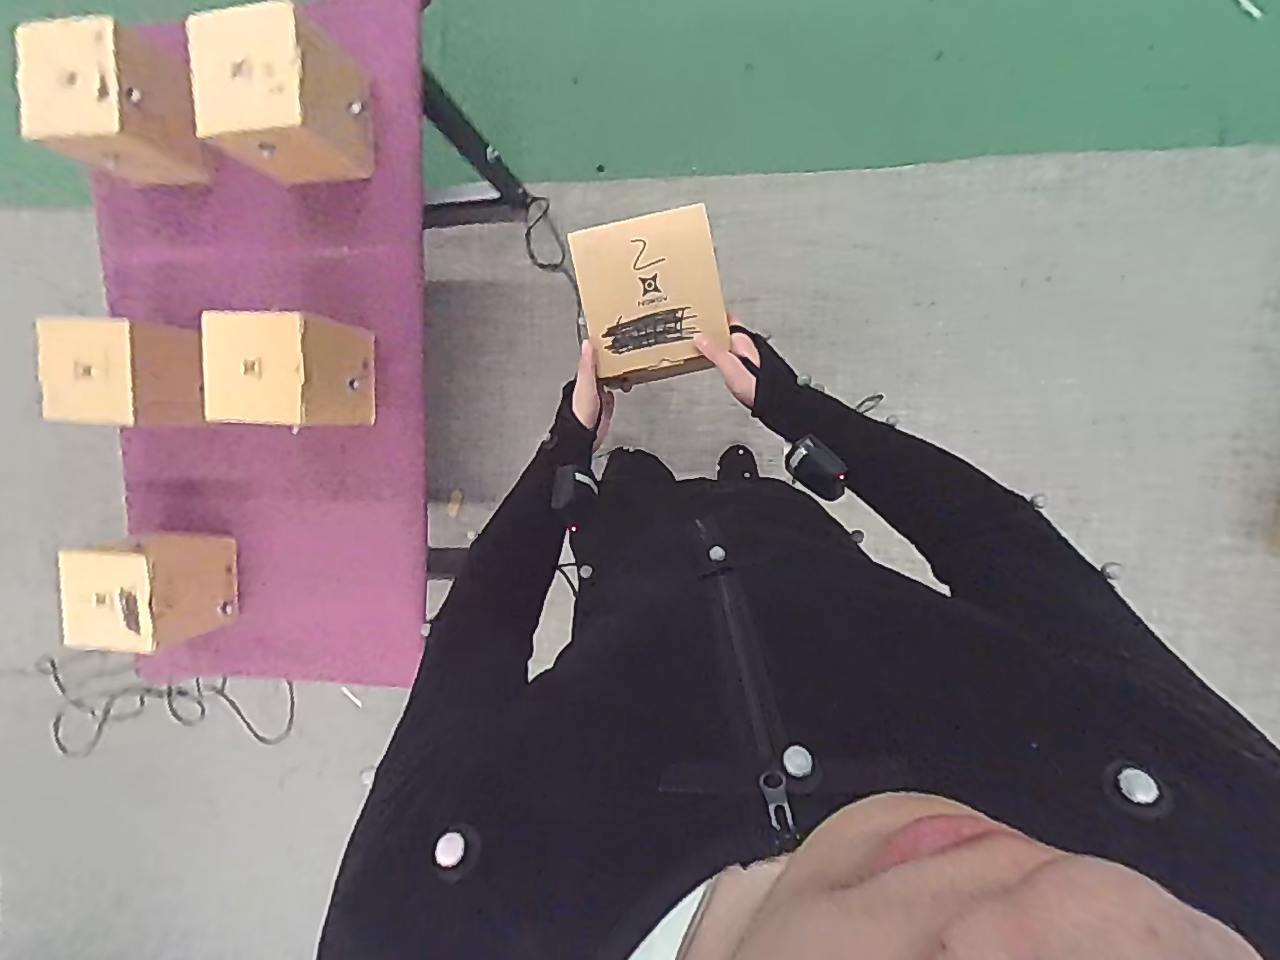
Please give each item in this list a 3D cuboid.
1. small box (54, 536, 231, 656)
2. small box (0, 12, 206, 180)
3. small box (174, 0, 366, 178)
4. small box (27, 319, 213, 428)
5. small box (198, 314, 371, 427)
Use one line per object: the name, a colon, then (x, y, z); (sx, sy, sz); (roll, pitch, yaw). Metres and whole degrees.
small box: (-0.876, 0.199, 0.972); (0.179, 0.176, 0.168); (2, 96, 7)
small box: (-0.863, -0.609, 0.881); (0.179, 0.176, 0.168); (2, 98, 7)
small box: (-0.561, -0.590, 0.840); (0.179, 0.176, 0.168); (0, 98, 8)
small box: (-0.882, -0.177, 0.935); (0.179, 0.176, 0.168); (4, 98, 6)
small box: (-0.577, -0.174, 0.894); (0.179, 0.176, 0.168); (3, 96, 8)
